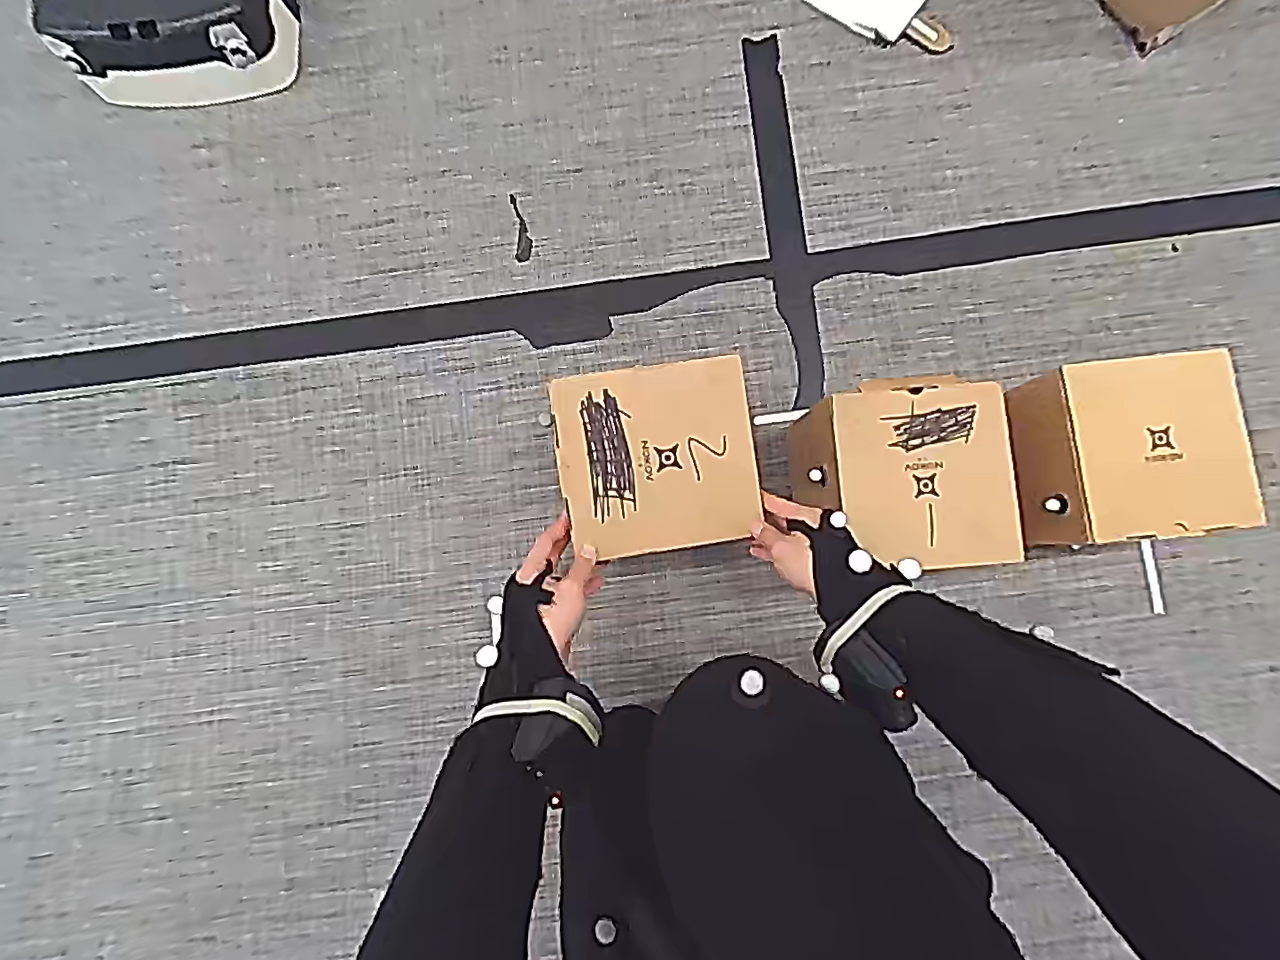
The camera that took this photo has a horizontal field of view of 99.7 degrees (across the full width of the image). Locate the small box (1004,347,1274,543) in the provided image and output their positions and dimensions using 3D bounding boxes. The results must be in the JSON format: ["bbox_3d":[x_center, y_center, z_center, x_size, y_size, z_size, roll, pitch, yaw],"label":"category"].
[{"bbox_3d":[0.496,-0.026,0.588,0.168,0.176,0.179,-6,84,0],"label":"small box"}]

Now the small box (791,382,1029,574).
[{"bbox_3d":[0.271,0.006,0.584,0.168,0.176,0.179,-4,84,0],"label":"small box"}]
